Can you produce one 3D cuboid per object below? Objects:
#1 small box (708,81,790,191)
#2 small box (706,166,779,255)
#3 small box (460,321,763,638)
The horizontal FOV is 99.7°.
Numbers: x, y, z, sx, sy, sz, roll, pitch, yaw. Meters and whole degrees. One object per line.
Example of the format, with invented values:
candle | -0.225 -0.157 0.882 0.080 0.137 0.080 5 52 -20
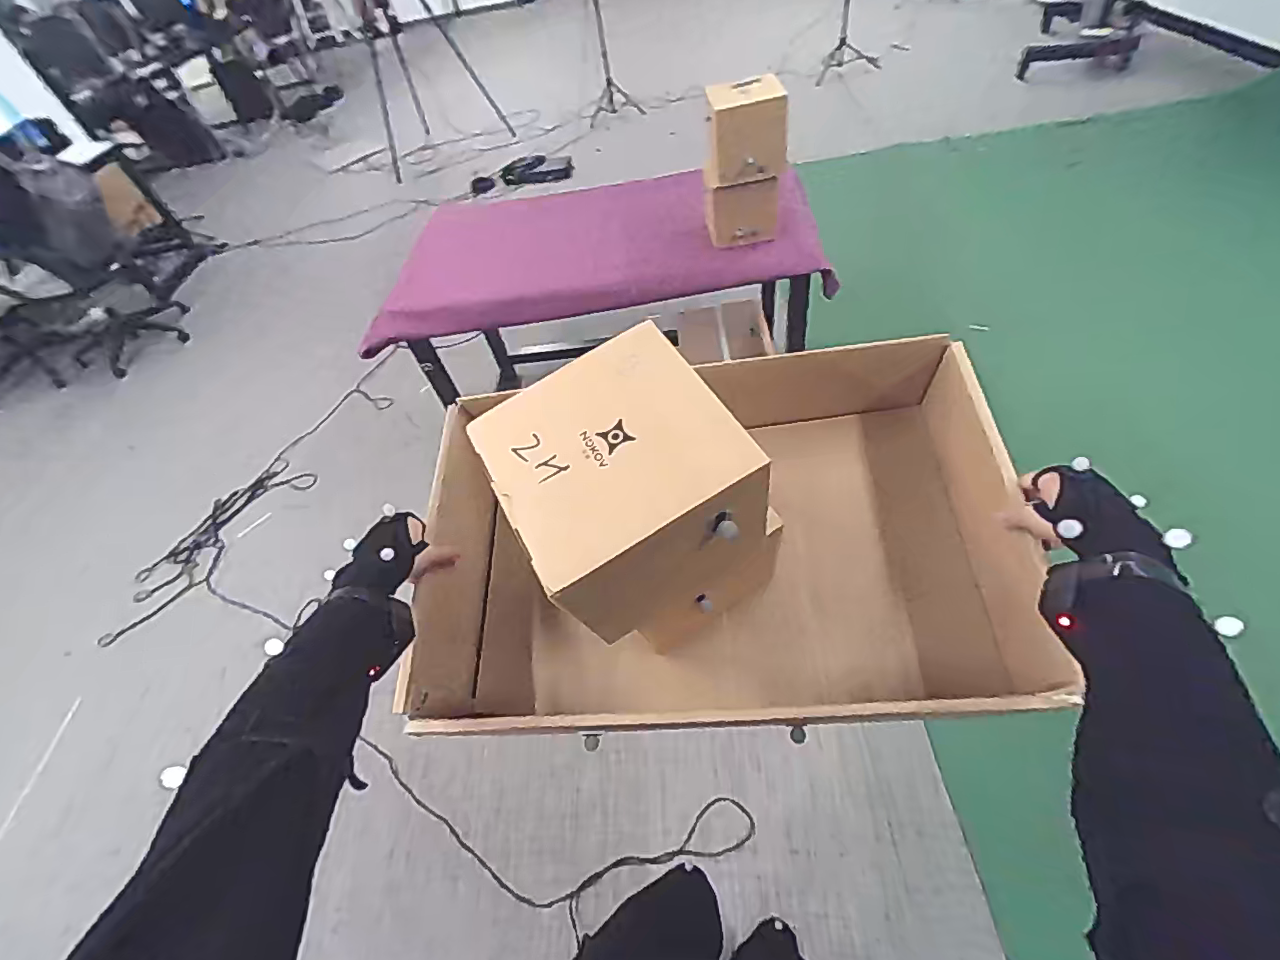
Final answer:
small box | 0.258 -0.824 1.300 0.168 0.176 0.179 -9 49 7
small box | 0.269 -0.725 1.433 0.168 0.176 0.179 -9 48 6
small box | -0.015 0.009 0.461 0.179 0.176 0.168 -31 61 -5
